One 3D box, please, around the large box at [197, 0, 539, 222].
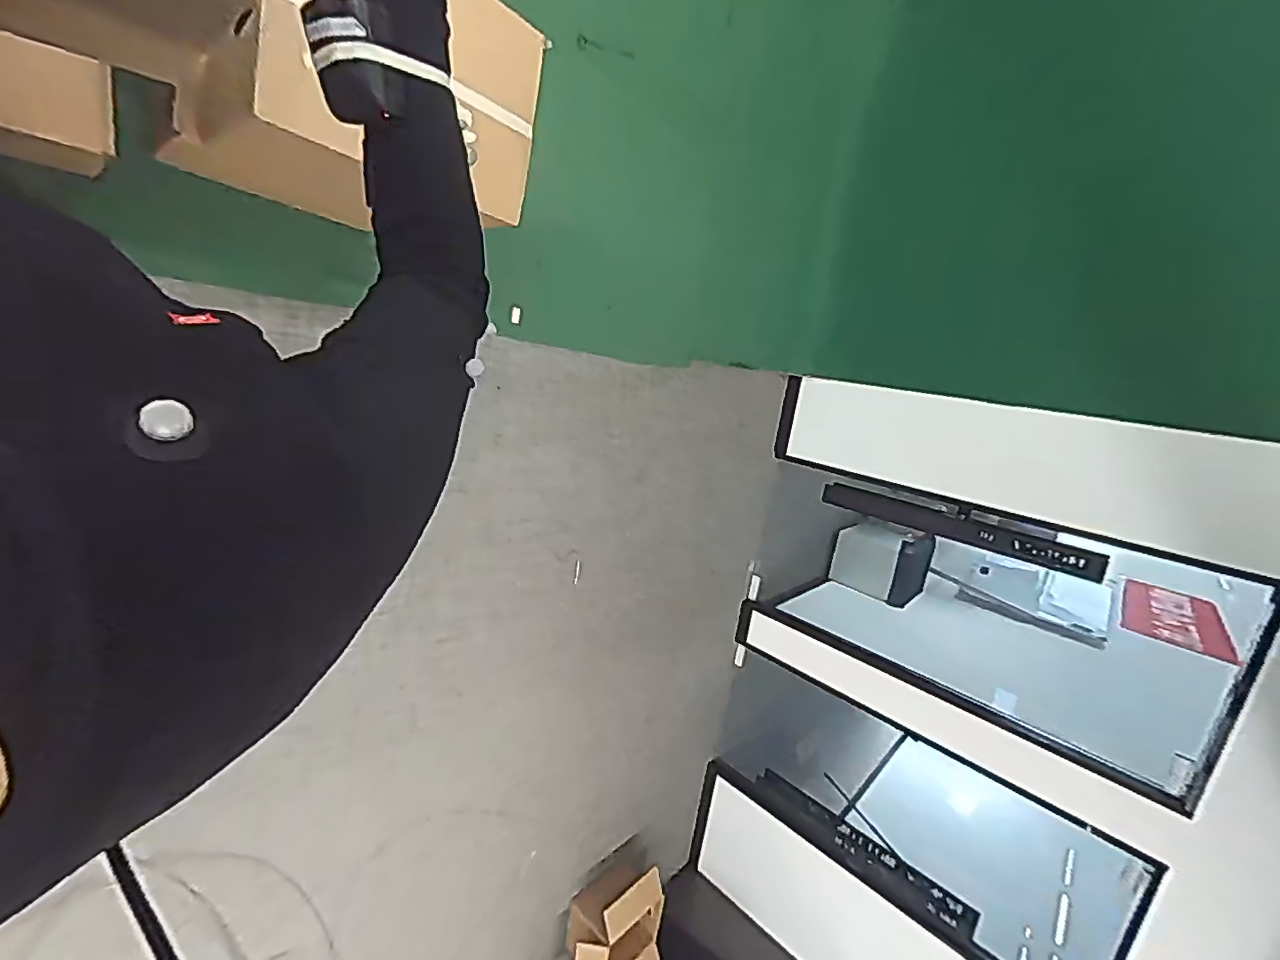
[{"bbox_3d":[-0.437,-0.648,0.881,0.408,0.320,0.320,-1,107,-50],"label":"large box"}]
